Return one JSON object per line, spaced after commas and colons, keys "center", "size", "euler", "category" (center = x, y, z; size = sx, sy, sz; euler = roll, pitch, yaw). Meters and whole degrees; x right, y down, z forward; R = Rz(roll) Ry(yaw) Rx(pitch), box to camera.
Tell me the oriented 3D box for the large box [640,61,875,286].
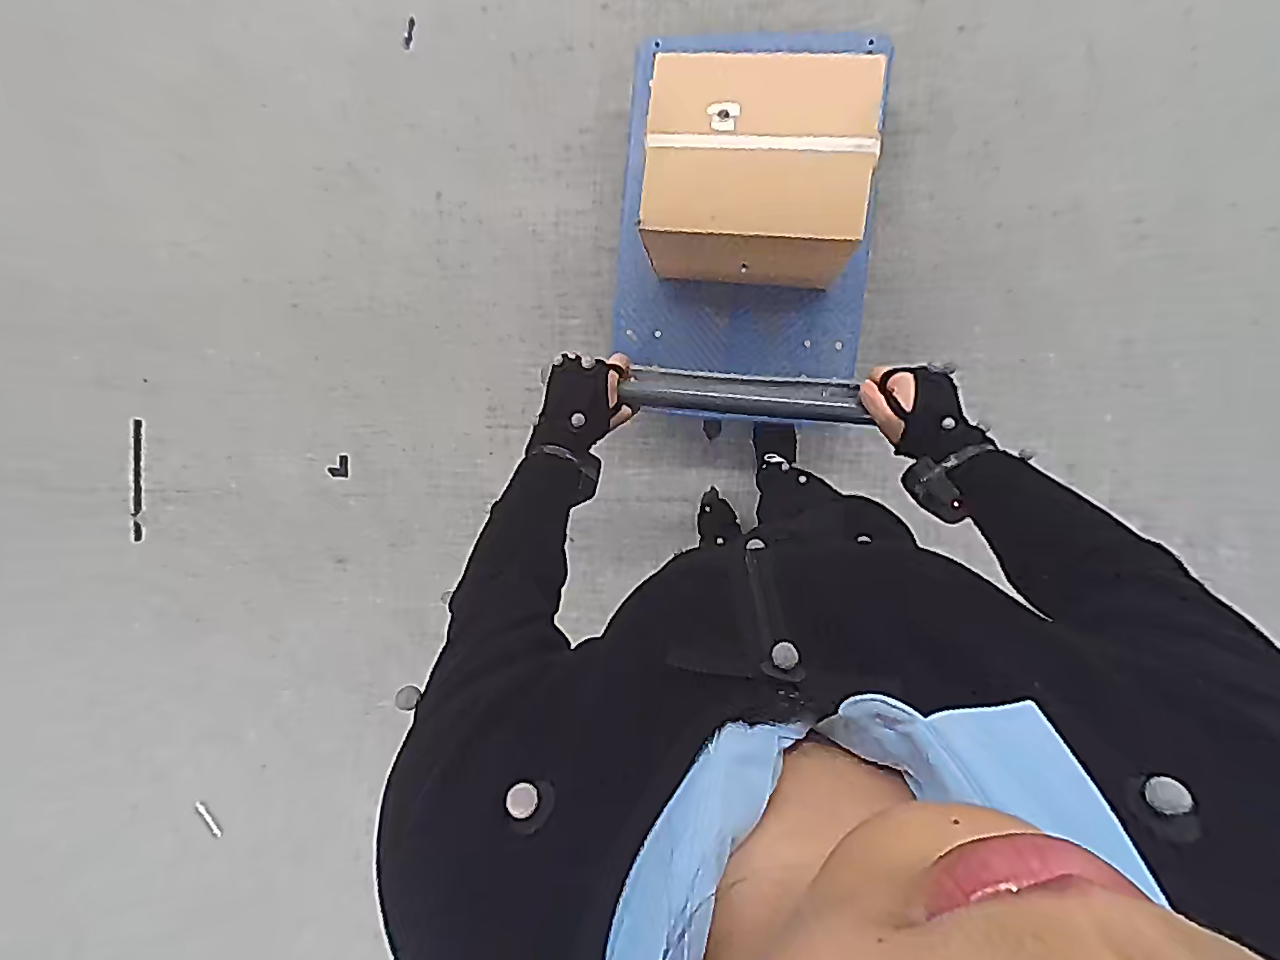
{"center": [0.233, -0.608, 1.134], "size": [0.408, 0.320, 0.320], "euler": [6, 94, 9], "category": "large box"}
